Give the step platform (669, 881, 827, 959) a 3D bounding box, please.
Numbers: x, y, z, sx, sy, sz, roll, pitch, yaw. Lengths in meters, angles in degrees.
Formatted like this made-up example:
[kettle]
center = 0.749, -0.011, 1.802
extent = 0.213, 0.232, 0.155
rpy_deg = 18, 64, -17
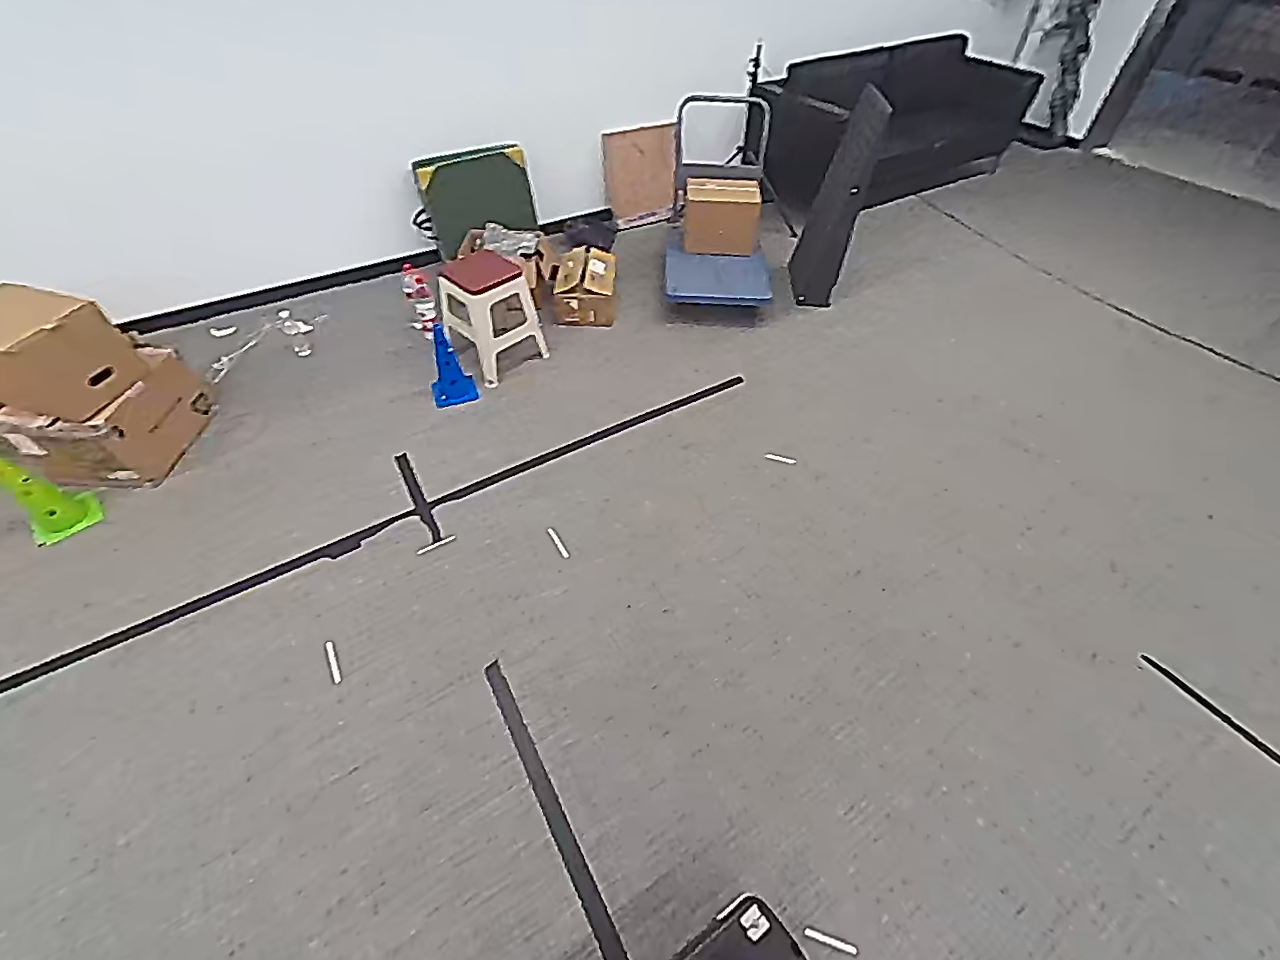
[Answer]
[step platform]
center = 0.089, 1.153, 1.074
extent = 0.684, 0.204, 0.286
rpy_deg = -25, 53, -23
